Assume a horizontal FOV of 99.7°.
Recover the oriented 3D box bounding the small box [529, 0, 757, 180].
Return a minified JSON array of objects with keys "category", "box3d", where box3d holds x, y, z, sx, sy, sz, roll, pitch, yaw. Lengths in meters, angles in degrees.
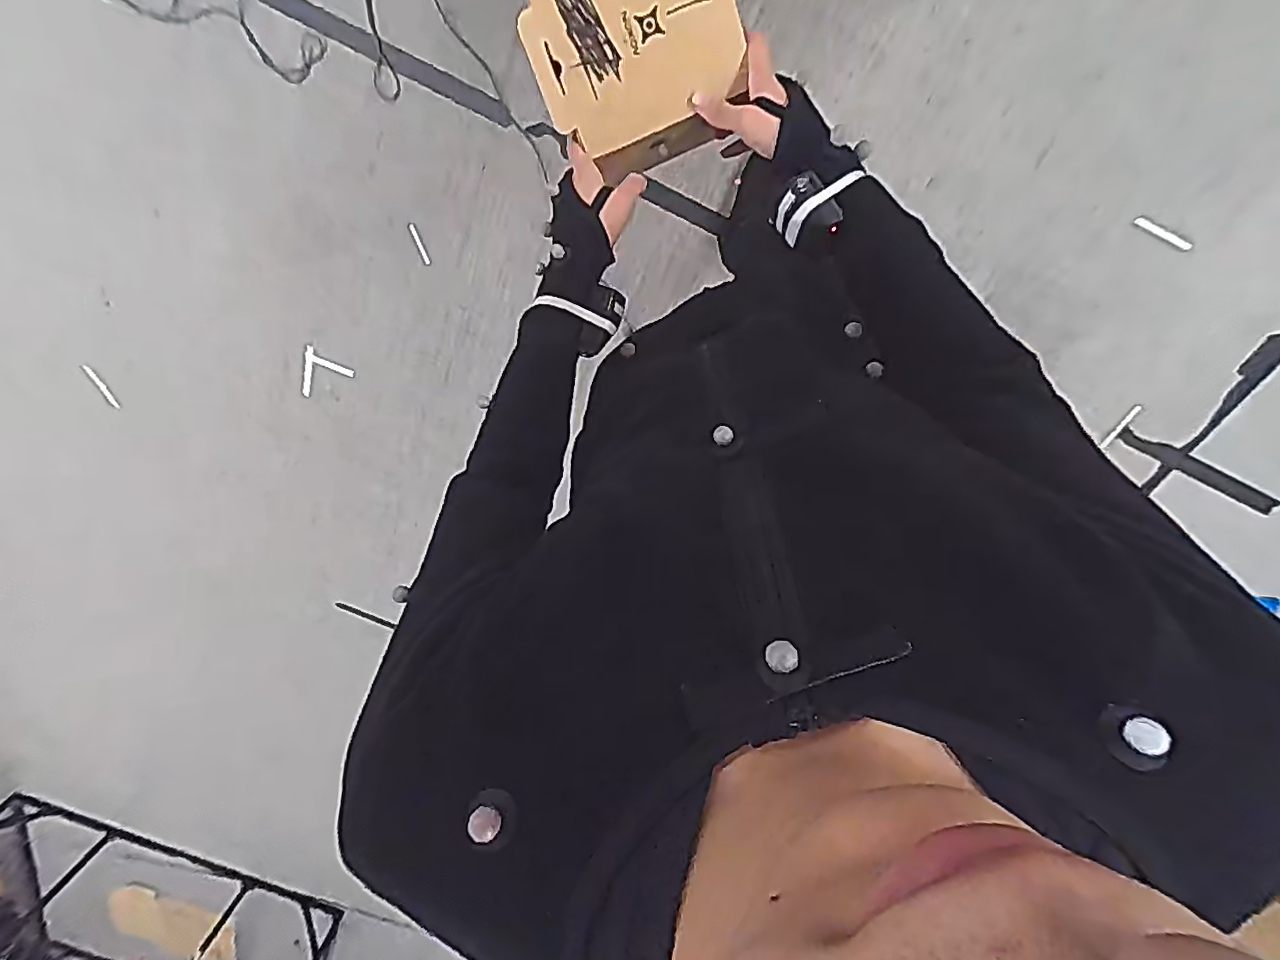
[{"category":"small box","box3d":[0.001,-0.439,0.561,0.179,0.176,0.168,-21,109,6]}]
